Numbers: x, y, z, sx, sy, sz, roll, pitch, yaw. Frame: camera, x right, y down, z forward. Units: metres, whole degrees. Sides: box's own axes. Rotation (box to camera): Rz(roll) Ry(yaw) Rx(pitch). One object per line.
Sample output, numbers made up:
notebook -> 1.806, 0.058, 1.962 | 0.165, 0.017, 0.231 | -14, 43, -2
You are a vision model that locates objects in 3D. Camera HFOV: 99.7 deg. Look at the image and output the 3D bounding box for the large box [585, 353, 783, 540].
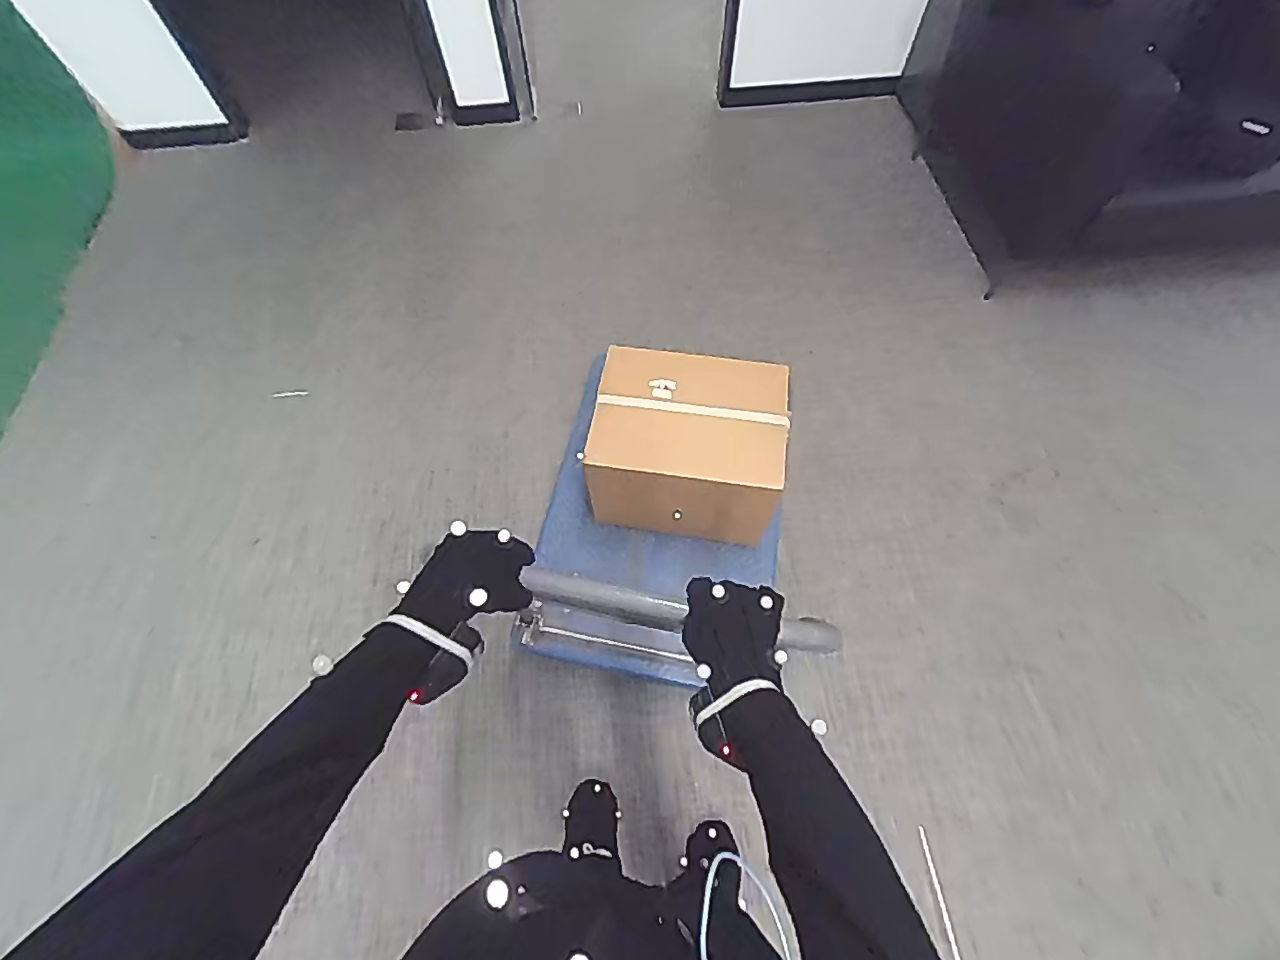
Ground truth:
large box -> 0.108, -0.069, 1.283 | 0.408, 0.320, 0.320 | 7, 62, 5
